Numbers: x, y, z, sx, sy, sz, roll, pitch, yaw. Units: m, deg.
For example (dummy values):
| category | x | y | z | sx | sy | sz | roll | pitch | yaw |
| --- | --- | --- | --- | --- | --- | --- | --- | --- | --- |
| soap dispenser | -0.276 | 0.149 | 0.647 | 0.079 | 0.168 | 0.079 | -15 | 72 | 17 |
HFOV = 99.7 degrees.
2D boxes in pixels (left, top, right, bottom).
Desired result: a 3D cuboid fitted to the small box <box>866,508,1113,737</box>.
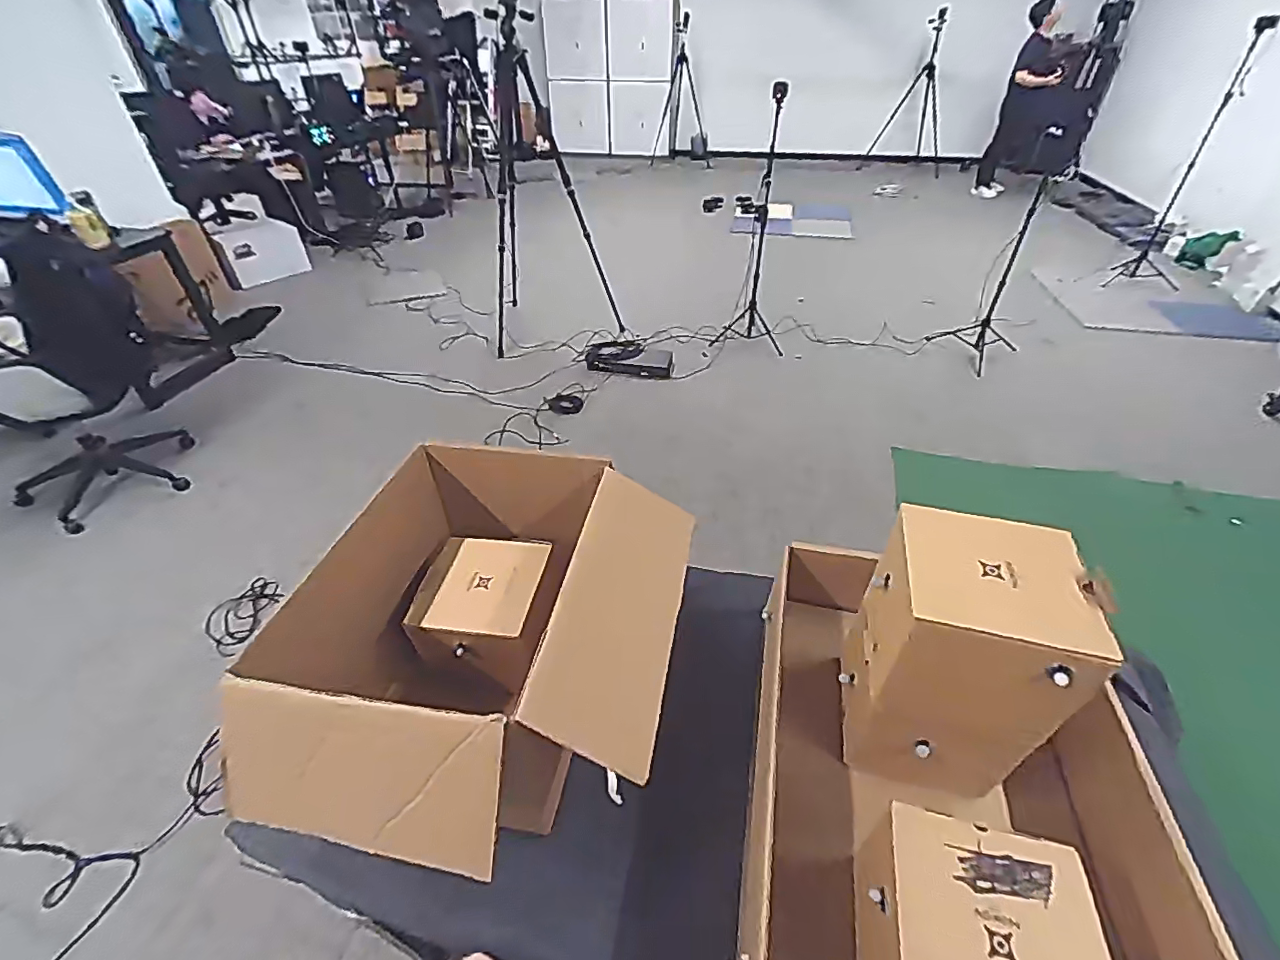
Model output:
| category | x | y | z | sx | sy | sz | roll | pitch | yaw |
| --- | --- | --- | --- | --- | --- | --- | --- | --- | --- |
| small box | 0.359 | 0.159 | 0.605 | 0.179 | 0.176 | 0.168 | 10 | 43 | 12 |
